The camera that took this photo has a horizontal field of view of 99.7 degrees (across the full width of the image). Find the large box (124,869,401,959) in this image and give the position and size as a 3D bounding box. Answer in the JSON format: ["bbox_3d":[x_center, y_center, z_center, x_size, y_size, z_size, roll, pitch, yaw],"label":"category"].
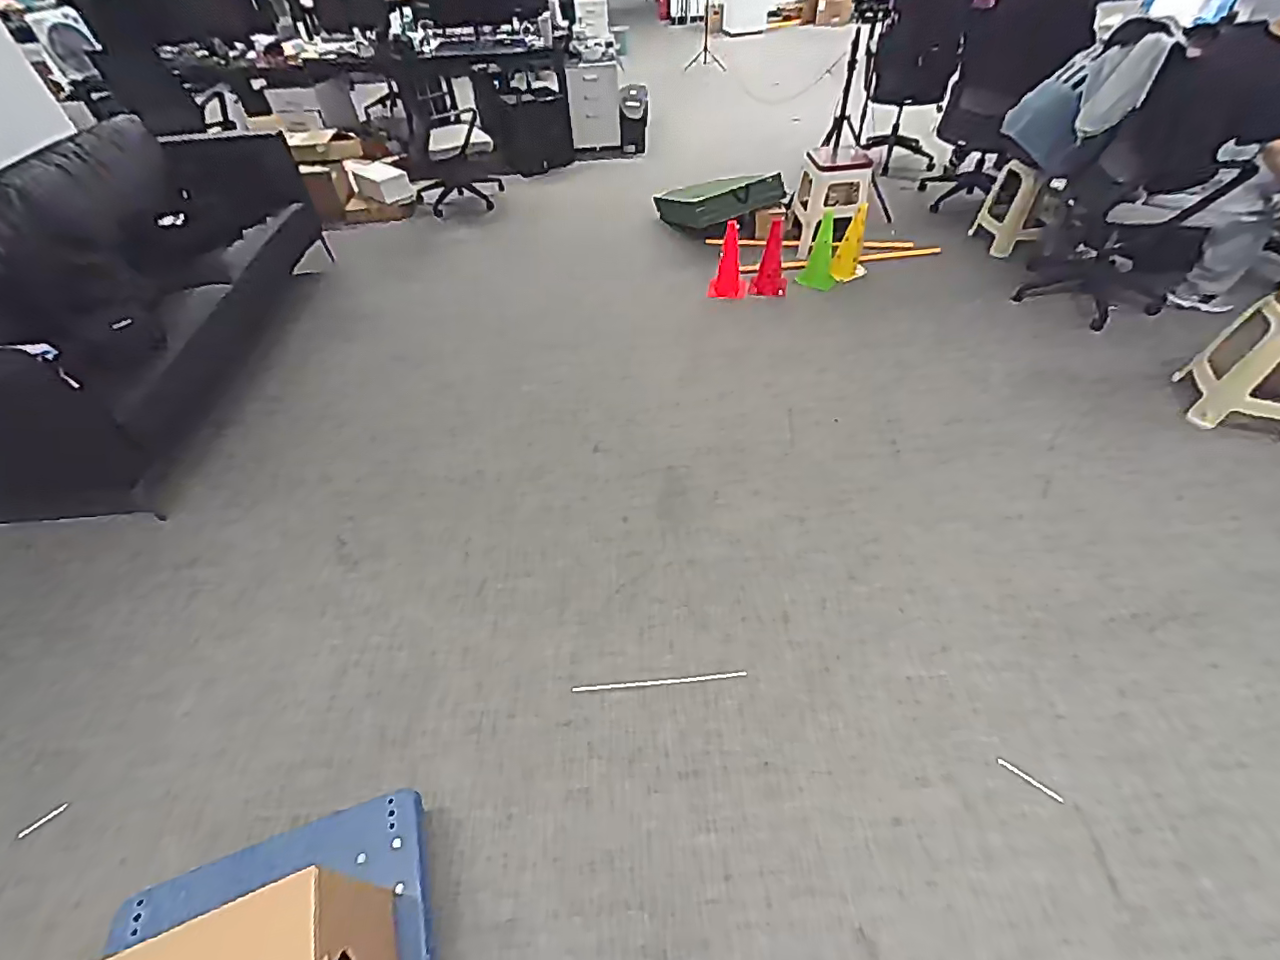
[{"bbox_3d":[-0.609,0.871,0.813,0.408,0.320,0.320,-20,48,-13],"label":"large box"}]
